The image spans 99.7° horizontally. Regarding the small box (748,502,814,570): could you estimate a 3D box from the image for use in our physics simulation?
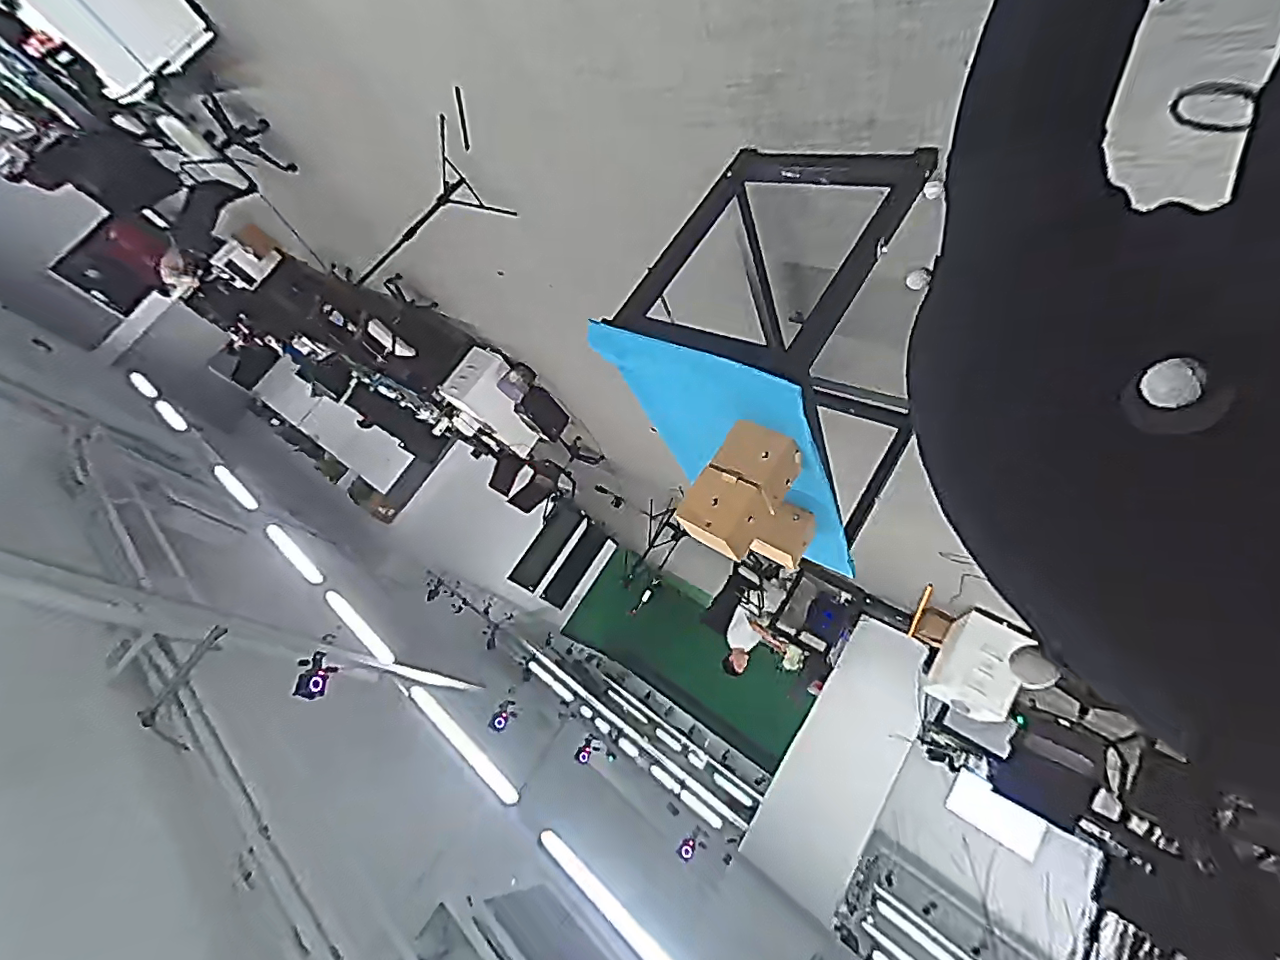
[{"bbox_3d":[0.486,0.191,1.890,0.179,0.176,0.168,26,164,30],"label":"small box"}]

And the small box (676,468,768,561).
[{"bbox_3d":[0.222,0.098,1.473,0.168,0.176,0.179,27,168,34],"label":"small box"}]

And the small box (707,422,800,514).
[{"bbox_3d":[0.319,-0.029,1.510,0.179,0.176,0.168,25,165,35],"label":"small box"}]
